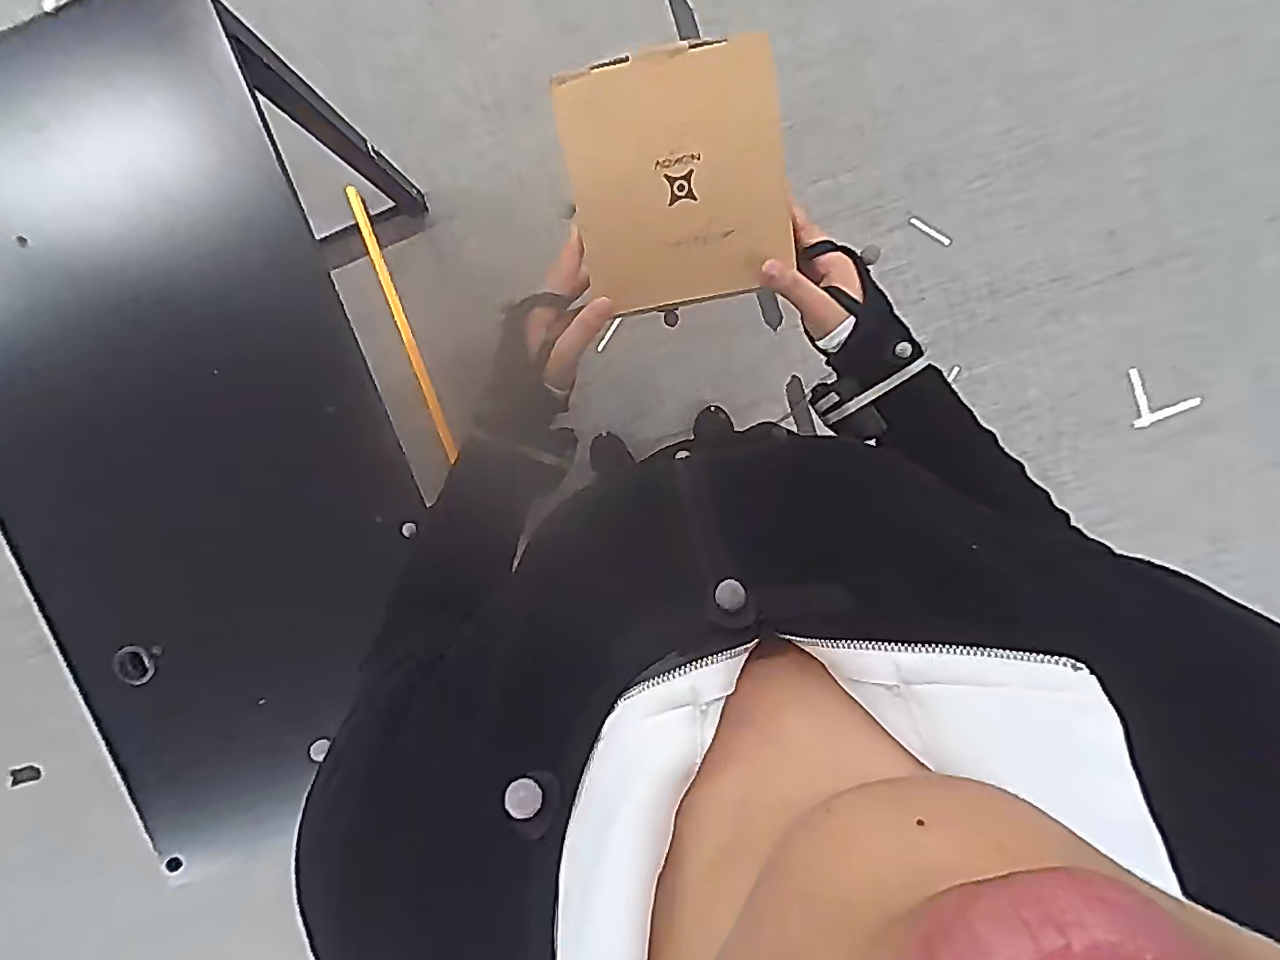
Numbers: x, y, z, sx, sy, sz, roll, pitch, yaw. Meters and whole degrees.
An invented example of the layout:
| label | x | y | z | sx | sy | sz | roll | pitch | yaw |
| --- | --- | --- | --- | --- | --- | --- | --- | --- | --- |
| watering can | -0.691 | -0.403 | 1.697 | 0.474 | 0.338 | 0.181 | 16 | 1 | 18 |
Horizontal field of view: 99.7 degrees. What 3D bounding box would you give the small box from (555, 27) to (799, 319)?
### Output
| label | x | y | z | sx | sy | sz | roll | pitch | yaw |
| --- | --- | --- | --- | --- | --- | --- | --- | --- | --- |
| small box | 0.028 | -0.246 | 0.482 | 0.168 | 0.176 | 0.179 | -11 | 106 | 1 |
